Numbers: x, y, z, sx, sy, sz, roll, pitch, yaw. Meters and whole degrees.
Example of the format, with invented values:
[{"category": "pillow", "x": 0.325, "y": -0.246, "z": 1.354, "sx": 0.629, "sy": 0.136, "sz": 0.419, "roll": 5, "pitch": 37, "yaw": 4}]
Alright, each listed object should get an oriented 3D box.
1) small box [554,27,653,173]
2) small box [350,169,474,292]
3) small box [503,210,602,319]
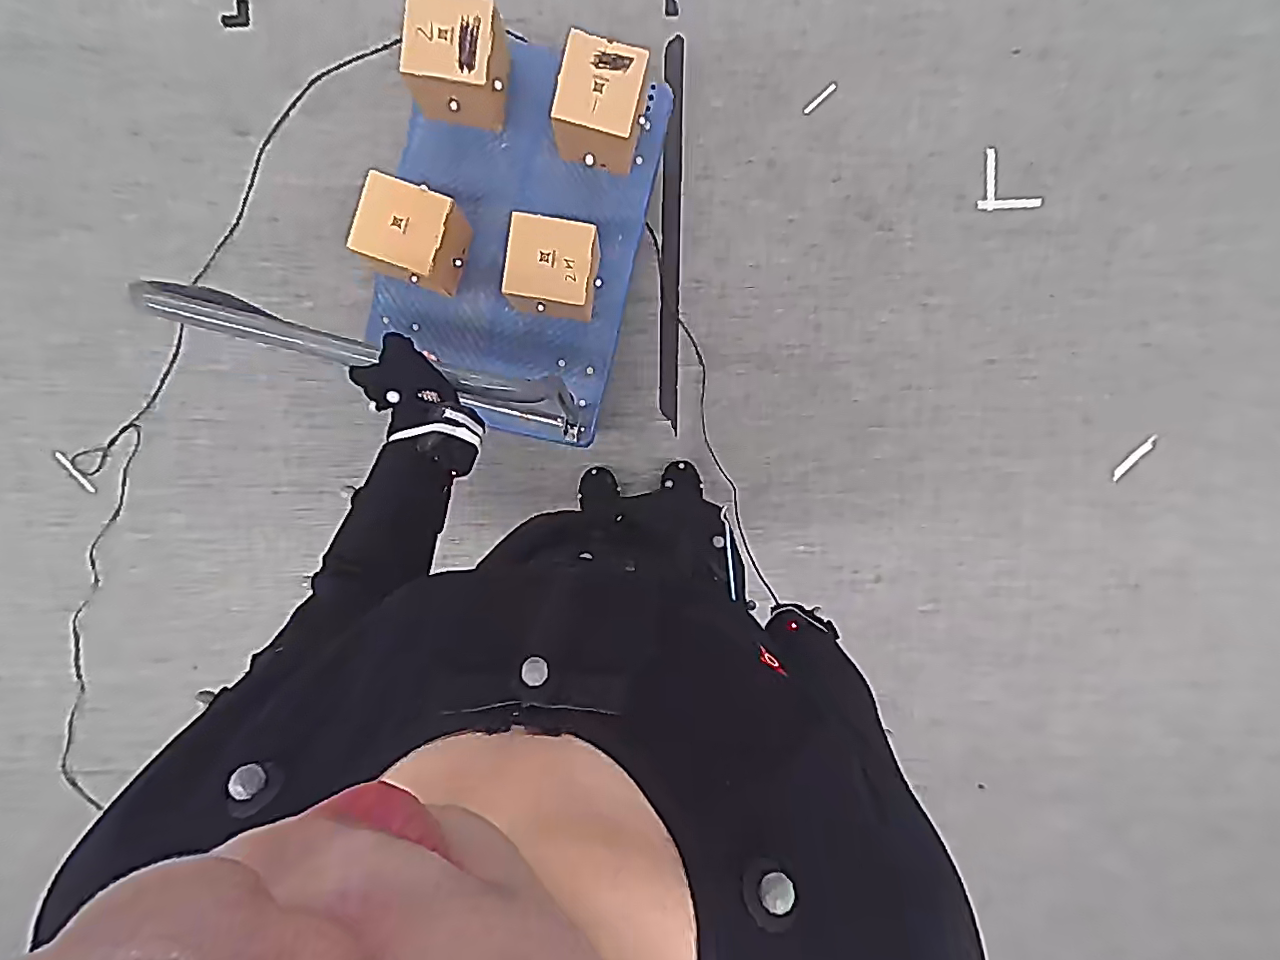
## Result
[{"category": "small box", "x": -0.076, "y": -0.802, "z": 1.159, "sx": 0.168, "sy": 0.176, "sz": 0.179, "roll": 15, "pitch": 95, "yaw": -2}, {"category": "small box", "x": -0.484, "y": -0.529, "z": 1.173, "sx": 0.179, "sy": 0.176, "sz": 0.168, "roll": 18, "pitch": 93, "yaw": -4}, {"category": "small box", "x": -0.184, "y": -0.461, "z": 1.184, "sx": 0.179, "sy": 0.176, "sz": 0.168, "roll": 9, "pitch": 94, "yaw": -2}]
